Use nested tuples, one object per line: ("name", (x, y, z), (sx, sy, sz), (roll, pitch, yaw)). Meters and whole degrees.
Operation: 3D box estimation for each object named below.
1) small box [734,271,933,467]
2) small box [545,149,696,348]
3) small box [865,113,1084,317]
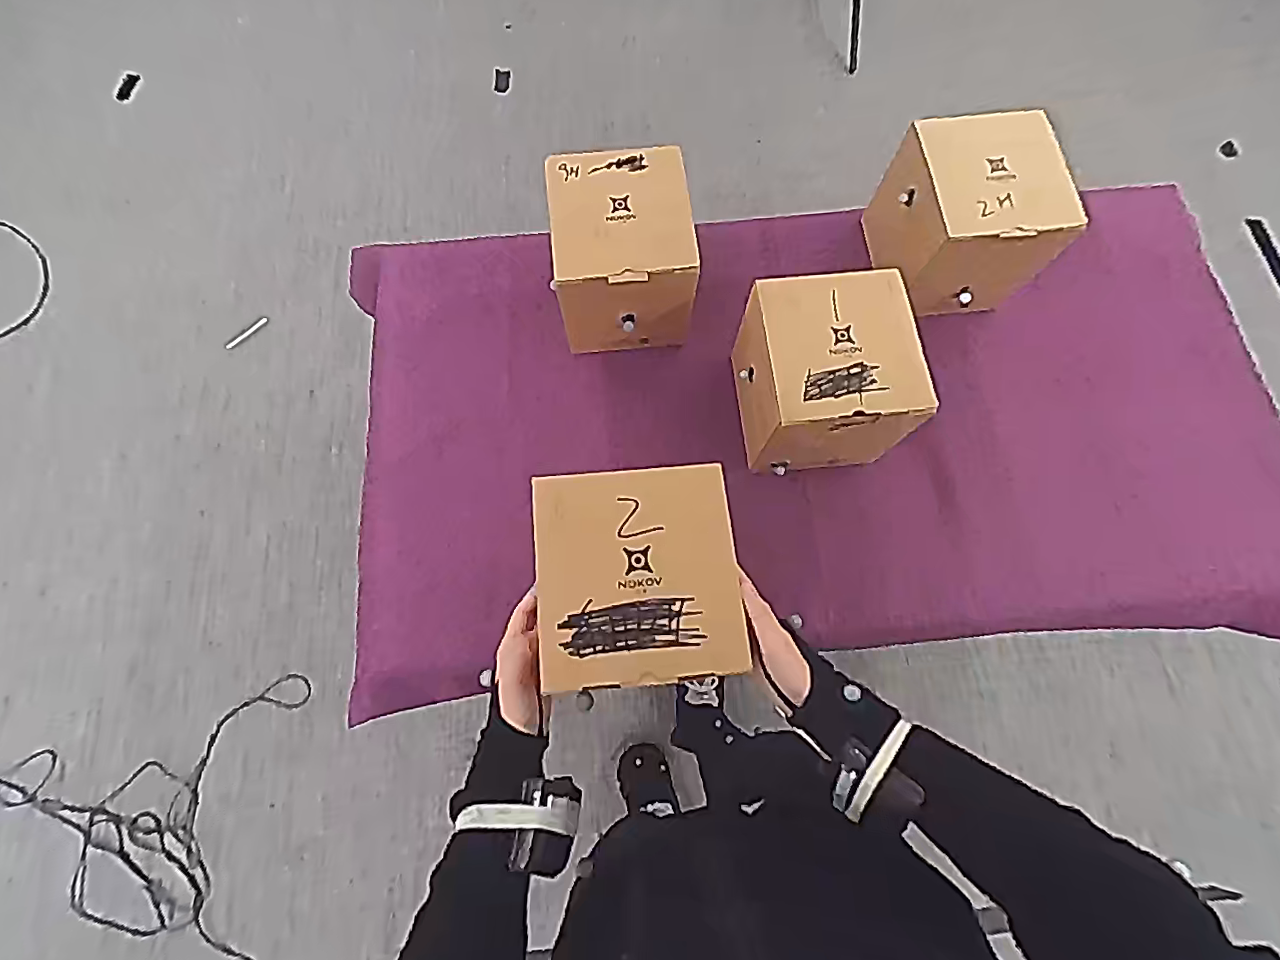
("small box", (0.215, -0.121, 0.654), (0.168, 0.176, 0.179), (-5, 72, -1))
("small box", (-0.024, -0.285, 0.701), (0.168, 0.176, 0.179), (-6, 76, -2))
("small box", (0.421, -0.340, 0.716), (0.168, 0.176, 0.179), (-6, 75, -1))
